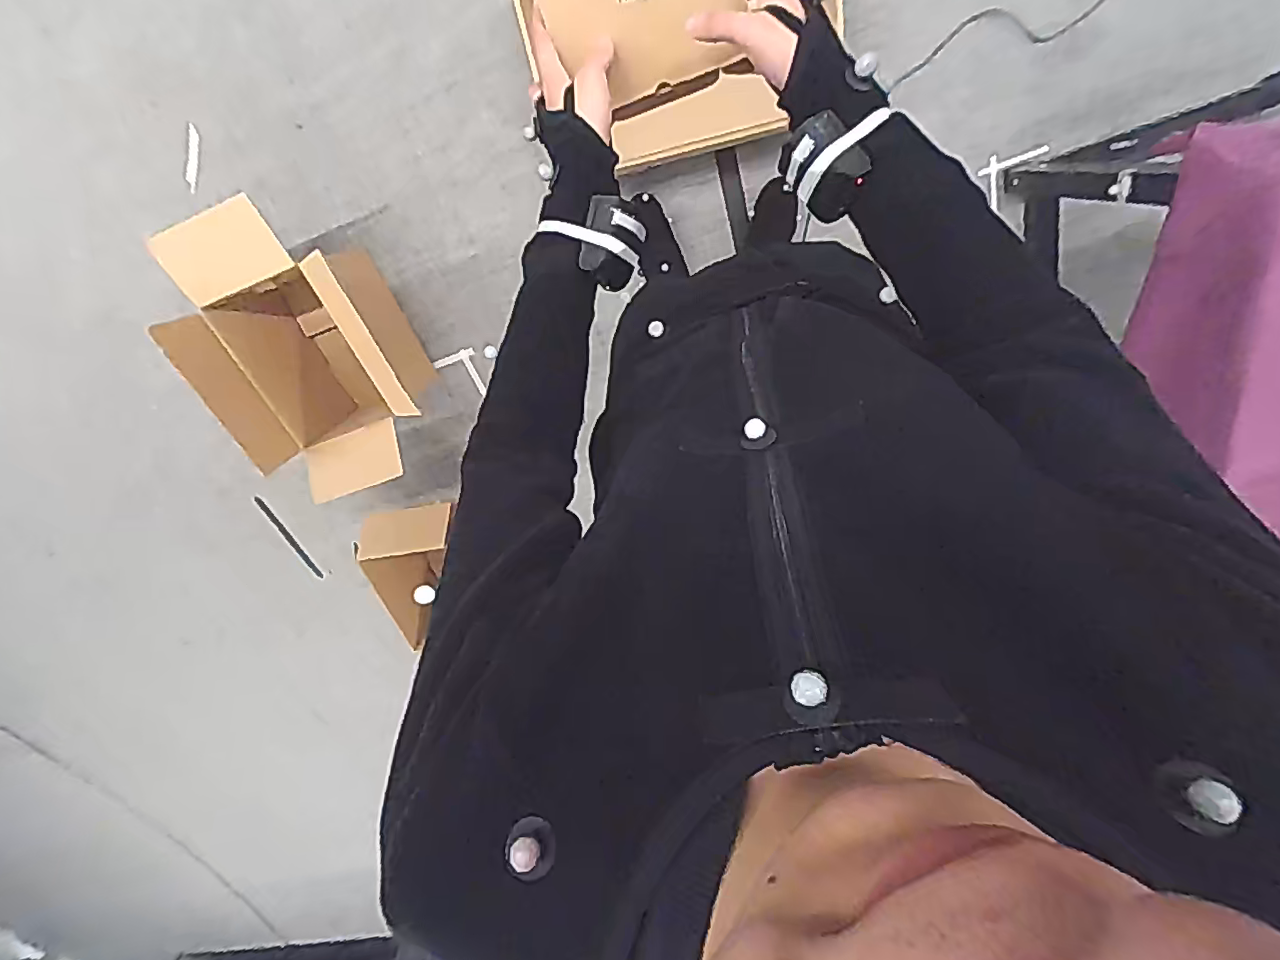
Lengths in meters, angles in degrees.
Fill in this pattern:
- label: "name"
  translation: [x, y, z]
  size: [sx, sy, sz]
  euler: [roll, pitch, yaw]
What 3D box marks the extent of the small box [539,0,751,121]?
- label: "small box"
  translation: [-0.007, -0.463, 0.480]
  size: [0.168, 0.176, 0.179]
  euler: [-14, 135, 10]
